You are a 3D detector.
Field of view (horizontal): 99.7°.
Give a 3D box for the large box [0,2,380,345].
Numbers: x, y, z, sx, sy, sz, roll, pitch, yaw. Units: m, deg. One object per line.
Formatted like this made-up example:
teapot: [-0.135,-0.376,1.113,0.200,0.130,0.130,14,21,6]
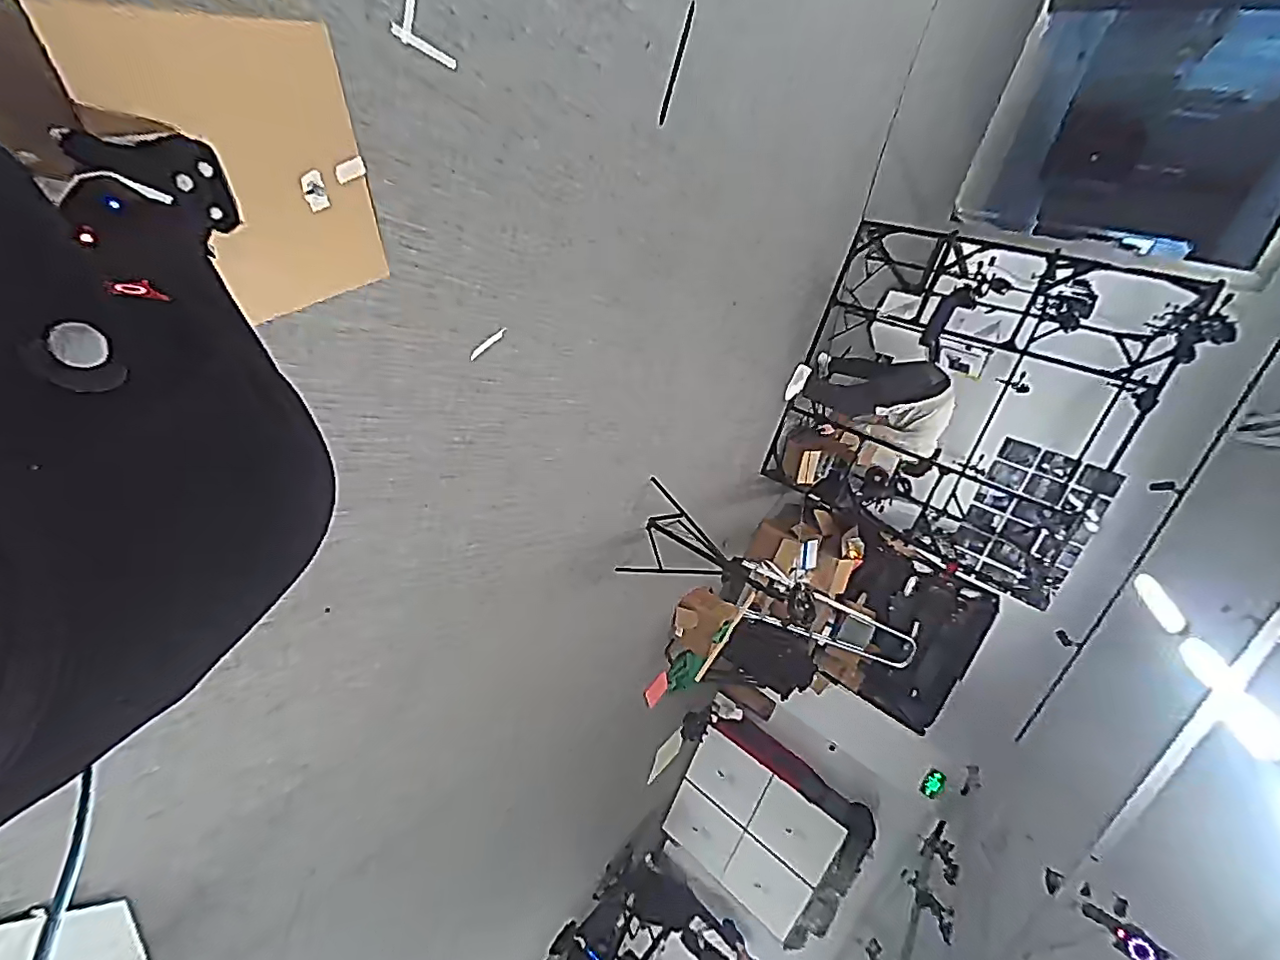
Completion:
large box: [-0.644,-0.408,0.722,0.320,0.408,0.320,-51,150,-48]
